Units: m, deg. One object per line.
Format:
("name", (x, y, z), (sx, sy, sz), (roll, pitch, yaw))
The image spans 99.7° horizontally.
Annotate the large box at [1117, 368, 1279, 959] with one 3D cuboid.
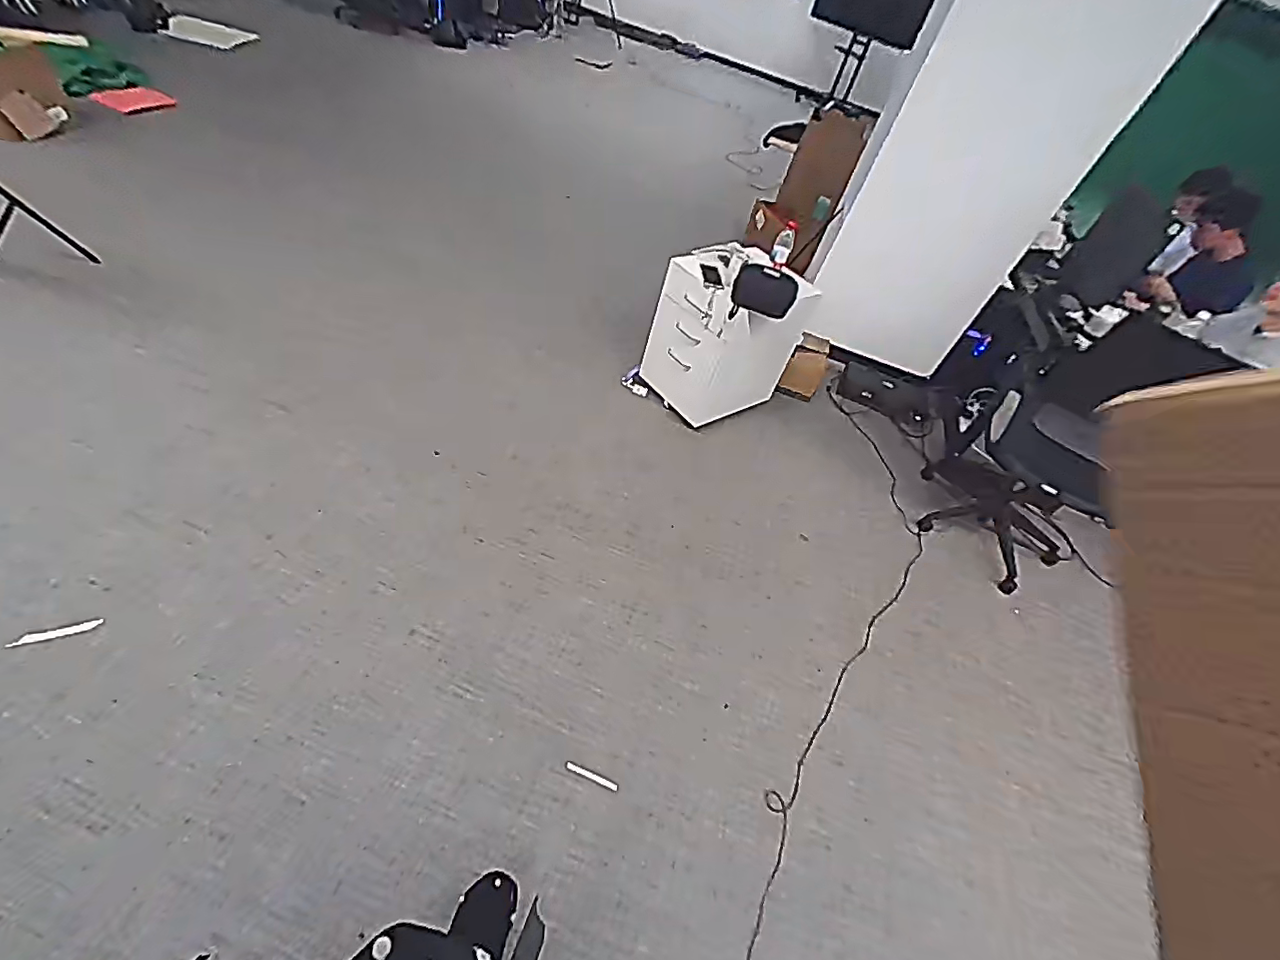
("large box", (0.484, 0.130, 0.238), (0.320, 0.320, 0.408), (-13, 96, -28))
